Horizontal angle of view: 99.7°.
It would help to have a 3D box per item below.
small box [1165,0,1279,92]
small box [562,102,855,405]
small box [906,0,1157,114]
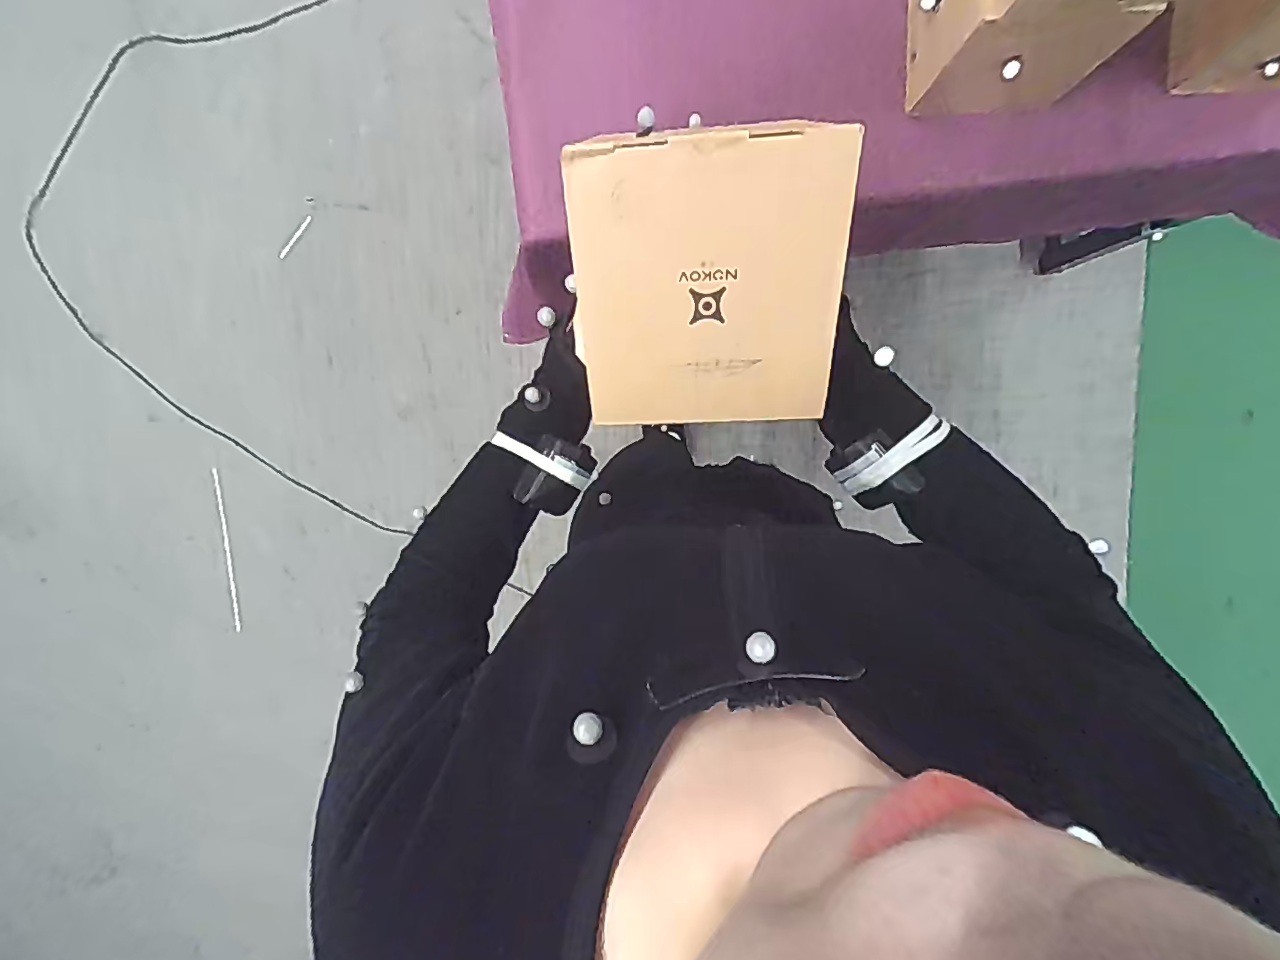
[{"bbox_3d":[0.726,-0.560,0.581,0.168,0.176,0.179,0,96,3],"label":"small box"},{"bbox_3d":[0.043,-0.172,0.407,0.168,0.176,0.179,-1,124,4],"label":"small box"},{"bbox_3d":[0.416,-0.538,0.599,0.179,0.176,0.168,-1,96,4],"label":"small box"}]
